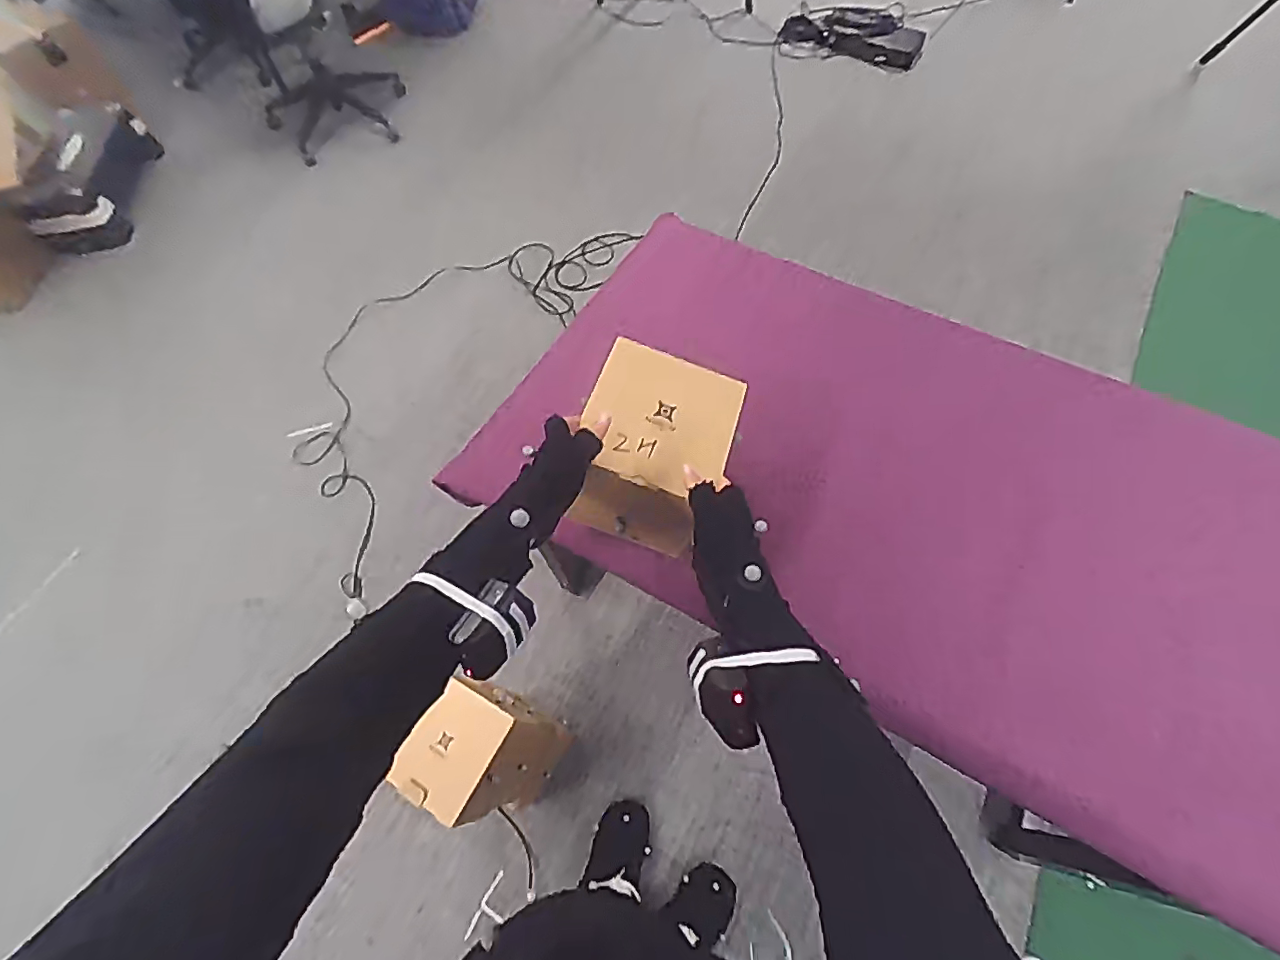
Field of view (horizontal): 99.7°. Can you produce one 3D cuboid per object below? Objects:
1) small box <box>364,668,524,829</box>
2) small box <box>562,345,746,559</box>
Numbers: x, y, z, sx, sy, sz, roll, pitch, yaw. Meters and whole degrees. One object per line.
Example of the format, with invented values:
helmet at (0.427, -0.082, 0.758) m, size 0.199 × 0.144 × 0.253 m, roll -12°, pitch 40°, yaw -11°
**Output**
small box at (-0.318, 0.450, 0.924) m, size 0.168 × 0.176 × 0.179 m, roll 27°, pitch 69°, yaw 15°
small box at (0.009, -0.027, 0.673) m, size 0.168 × 0.176 × 0.179 m, roll 22°, pitch 63°, yaw -2°
